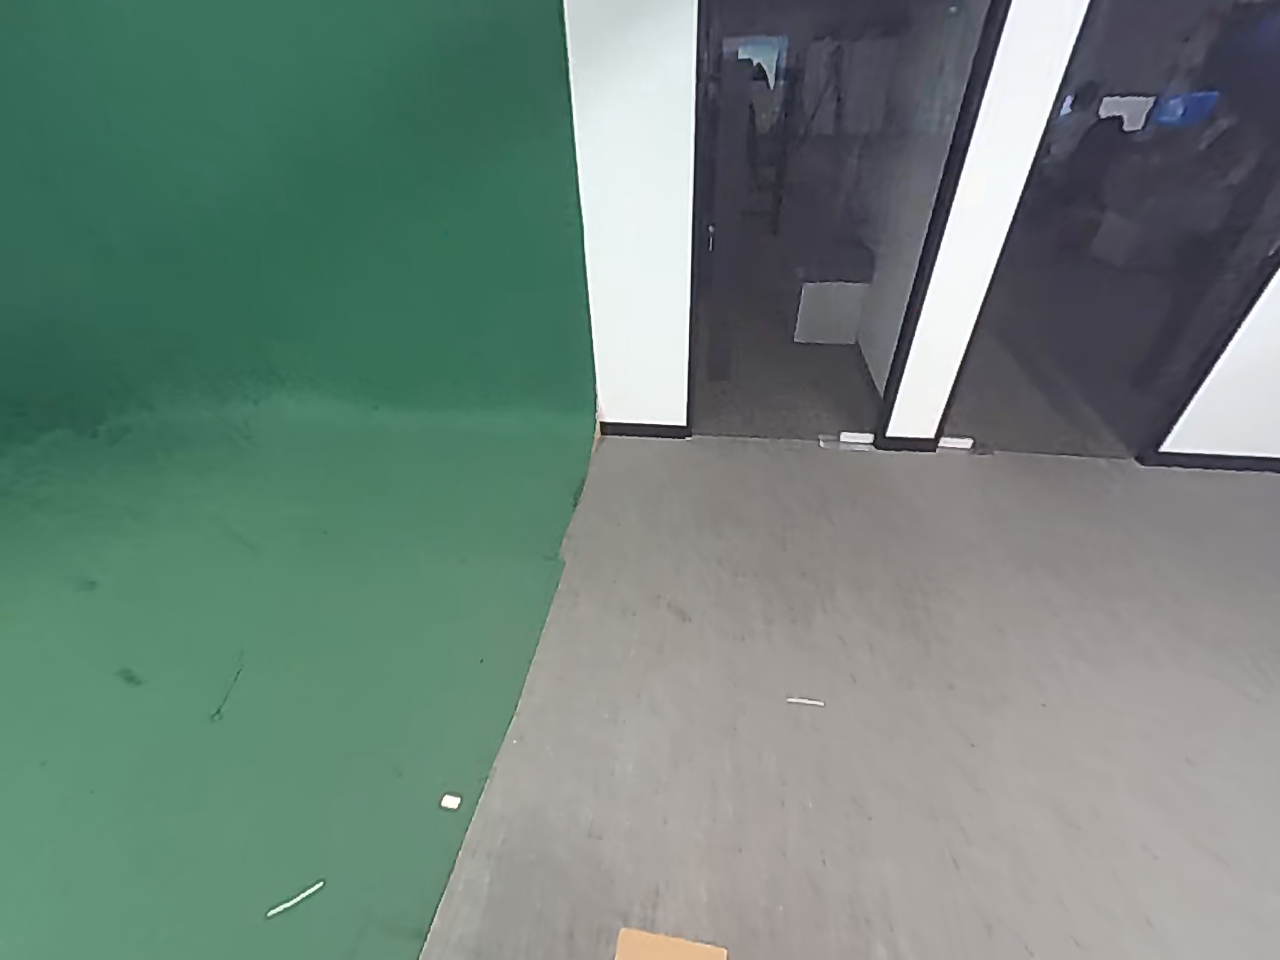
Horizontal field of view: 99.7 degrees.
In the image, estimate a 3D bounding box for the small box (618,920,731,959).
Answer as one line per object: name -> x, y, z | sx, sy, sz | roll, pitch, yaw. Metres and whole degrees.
small box -> 0.043, 0.796, 0.796 | 0.168, 0.176, 0.179 | 3, 38, 10
